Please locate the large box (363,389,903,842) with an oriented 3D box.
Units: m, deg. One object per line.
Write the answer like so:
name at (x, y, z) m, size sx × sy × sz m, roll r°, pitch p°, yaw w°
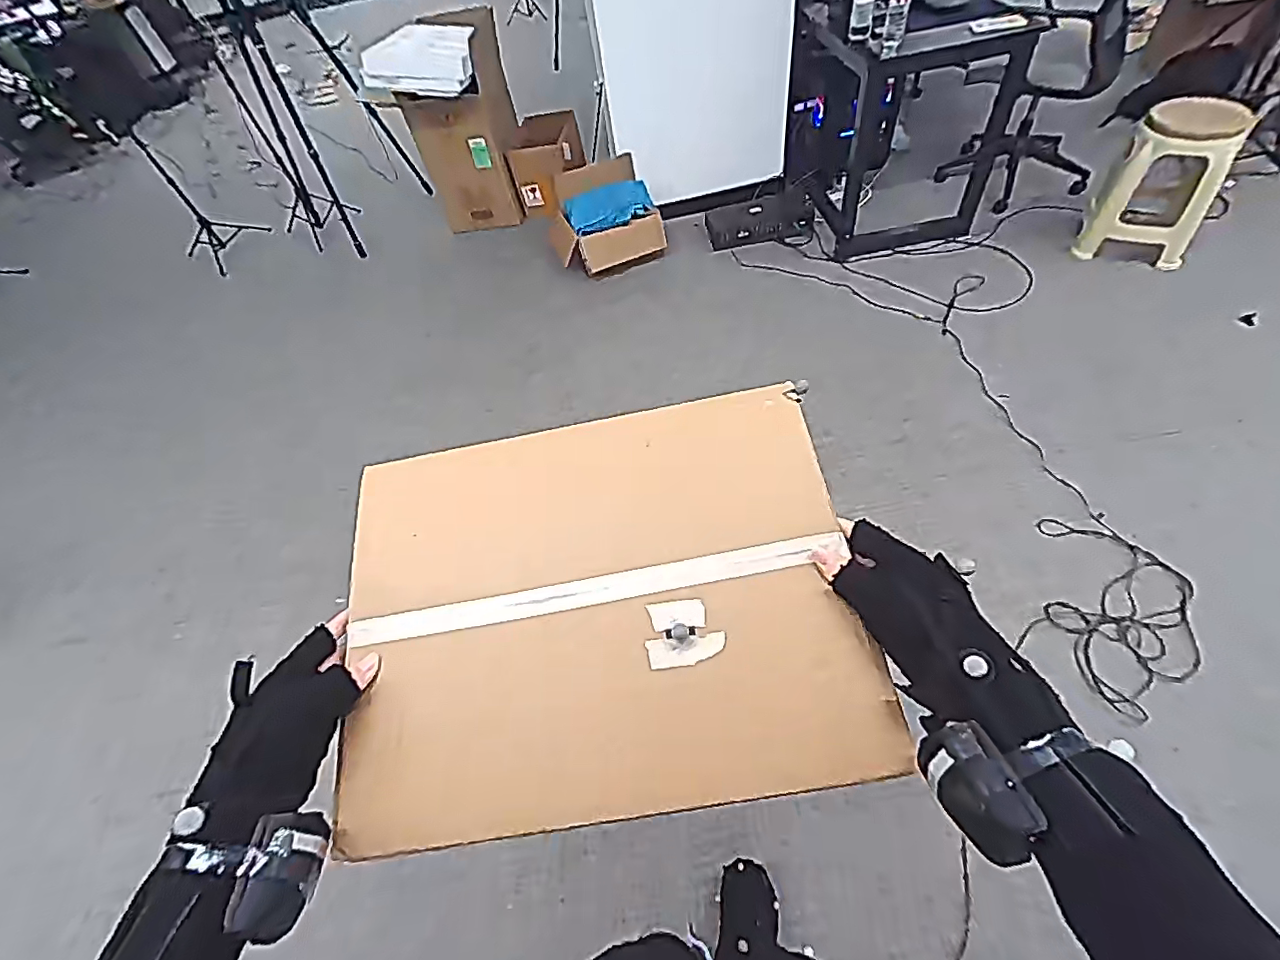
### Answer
large box at (-0.013, 0.152, 0.581) m, size 0.408 × 0.320 × 0.320 m, roll -11°, pitch 65°, yaw 3°
